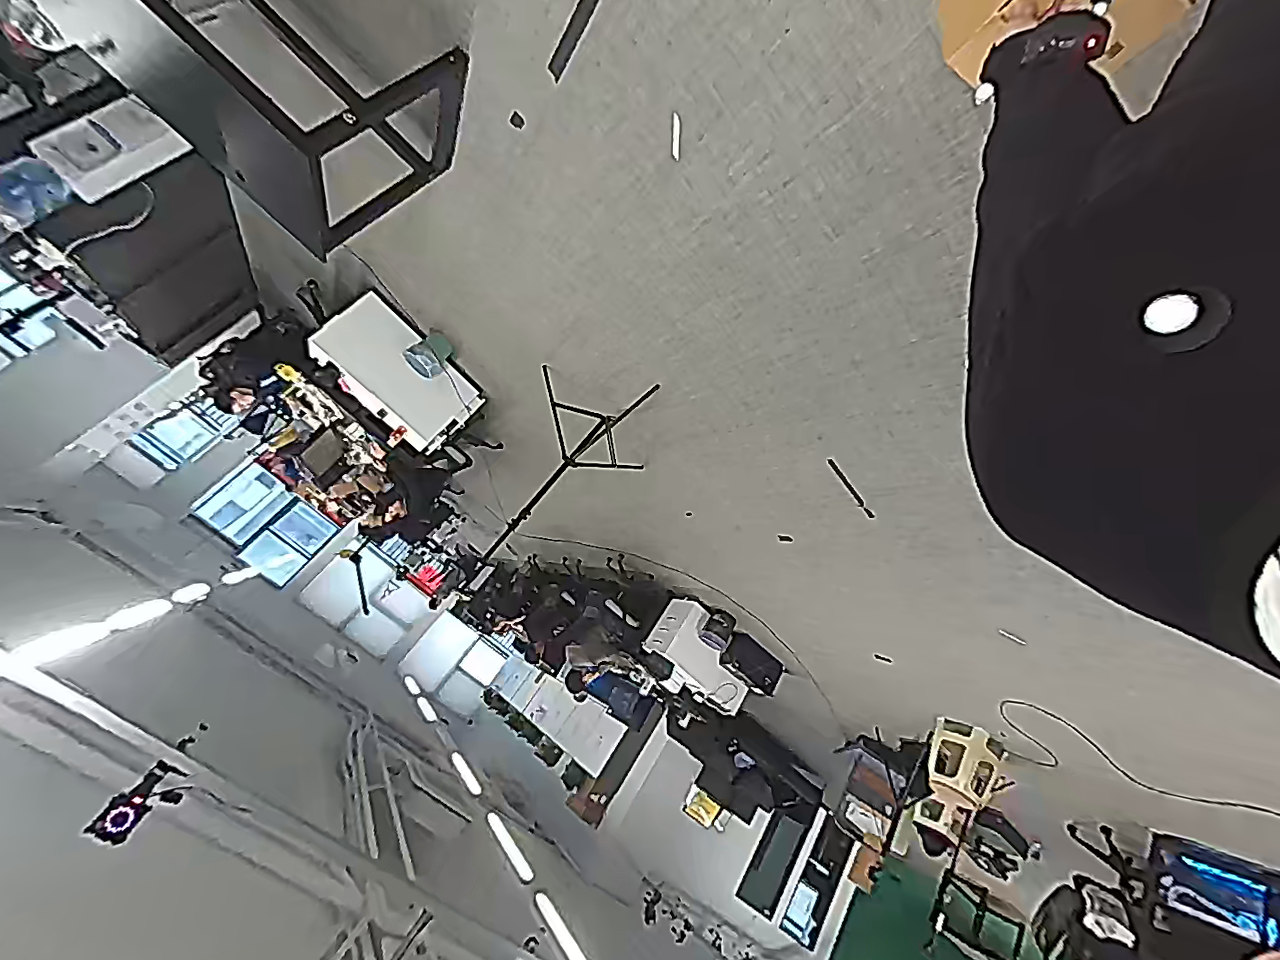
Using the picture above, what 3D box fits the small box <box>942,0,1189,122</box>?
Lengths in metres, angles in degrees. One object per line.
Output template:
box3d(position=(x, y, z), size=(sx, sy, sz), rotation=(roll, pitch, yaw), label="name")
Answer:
box3d(position=(0.484, -0.564, 0.629), size=(0.176, 0.179, 0.168), rotation=(16, 159, -24), label="small box")
